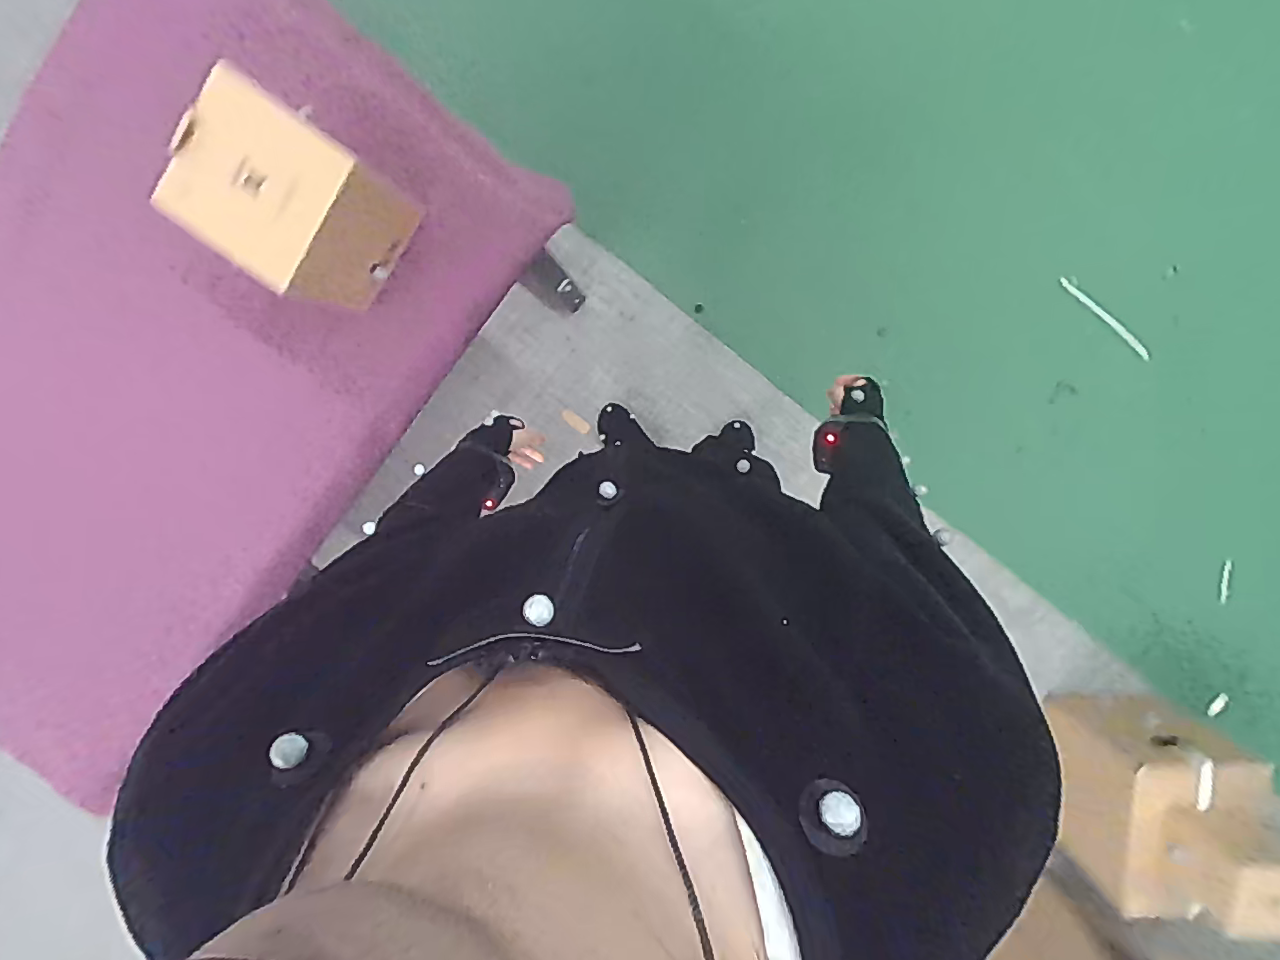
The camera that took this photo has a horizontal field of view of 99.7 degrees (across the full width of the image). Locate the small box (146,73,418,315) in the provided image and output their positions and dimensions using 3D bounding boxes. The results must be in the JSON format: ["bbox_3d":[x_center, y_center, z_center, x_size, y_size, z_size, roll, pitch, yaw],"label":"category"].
[{"bbox_3d":[-0.411,-0.320,0.651,0.179,0.176,0.168,35,100,-2],"label":"small box"}]

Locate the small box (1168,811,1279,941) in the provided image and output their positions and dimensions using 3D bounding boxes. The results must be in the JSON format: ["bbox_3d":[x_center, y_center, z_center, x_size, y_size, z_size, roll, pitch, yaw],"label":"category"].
[{"bbox_3d":[1.330,0.857,1.182,0.179,0.176,0.168,0,98,3],"label":"small box"}]
